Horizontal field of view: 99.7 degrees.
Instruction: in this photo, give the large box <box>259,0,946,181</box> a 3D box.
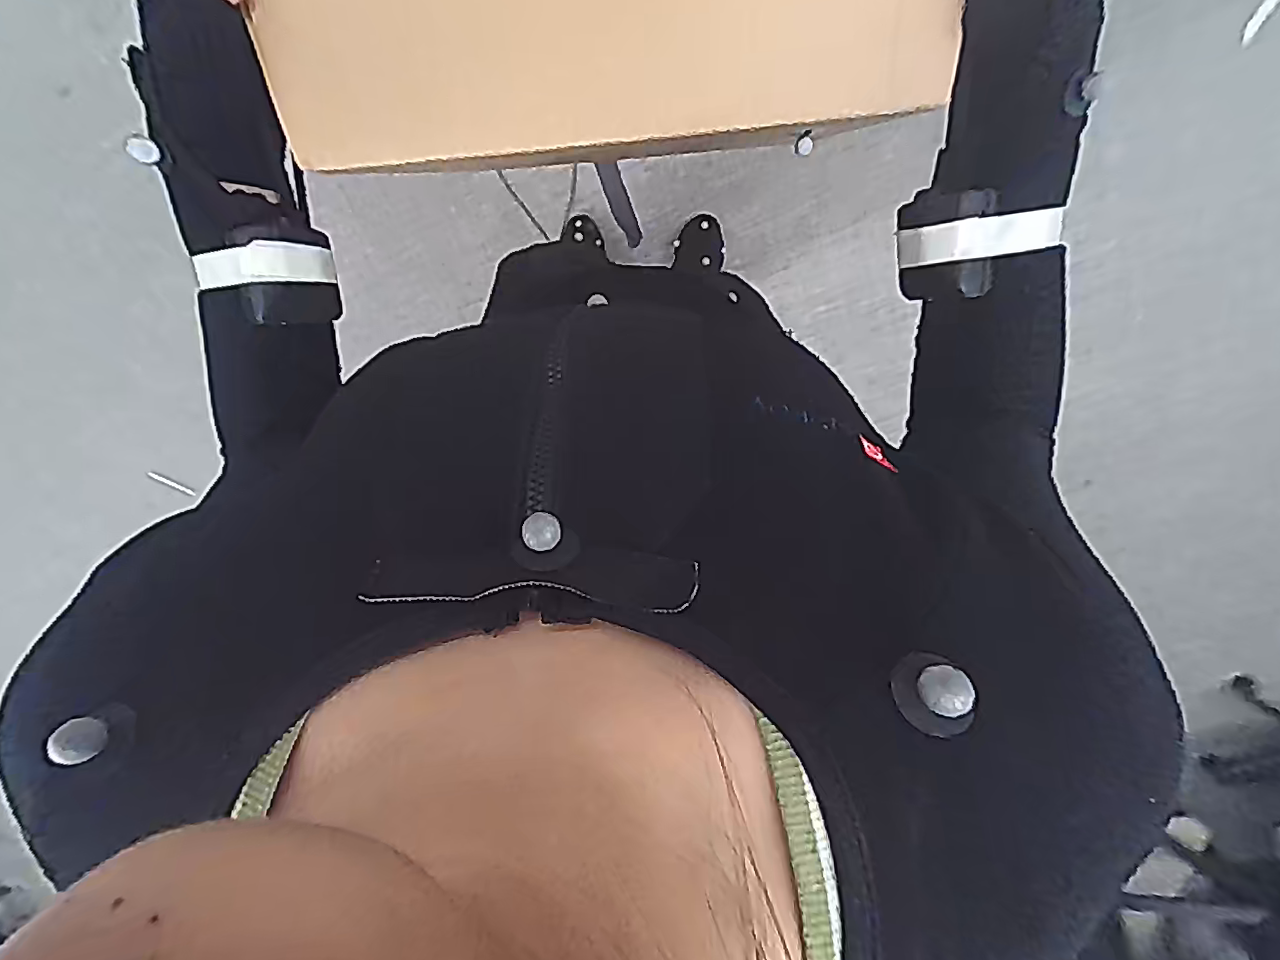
[{"bbox_3d":[-0.024,-0.424,0.400,0.408,0.320,0.320,-3,119,6],"label":"large box"}]
